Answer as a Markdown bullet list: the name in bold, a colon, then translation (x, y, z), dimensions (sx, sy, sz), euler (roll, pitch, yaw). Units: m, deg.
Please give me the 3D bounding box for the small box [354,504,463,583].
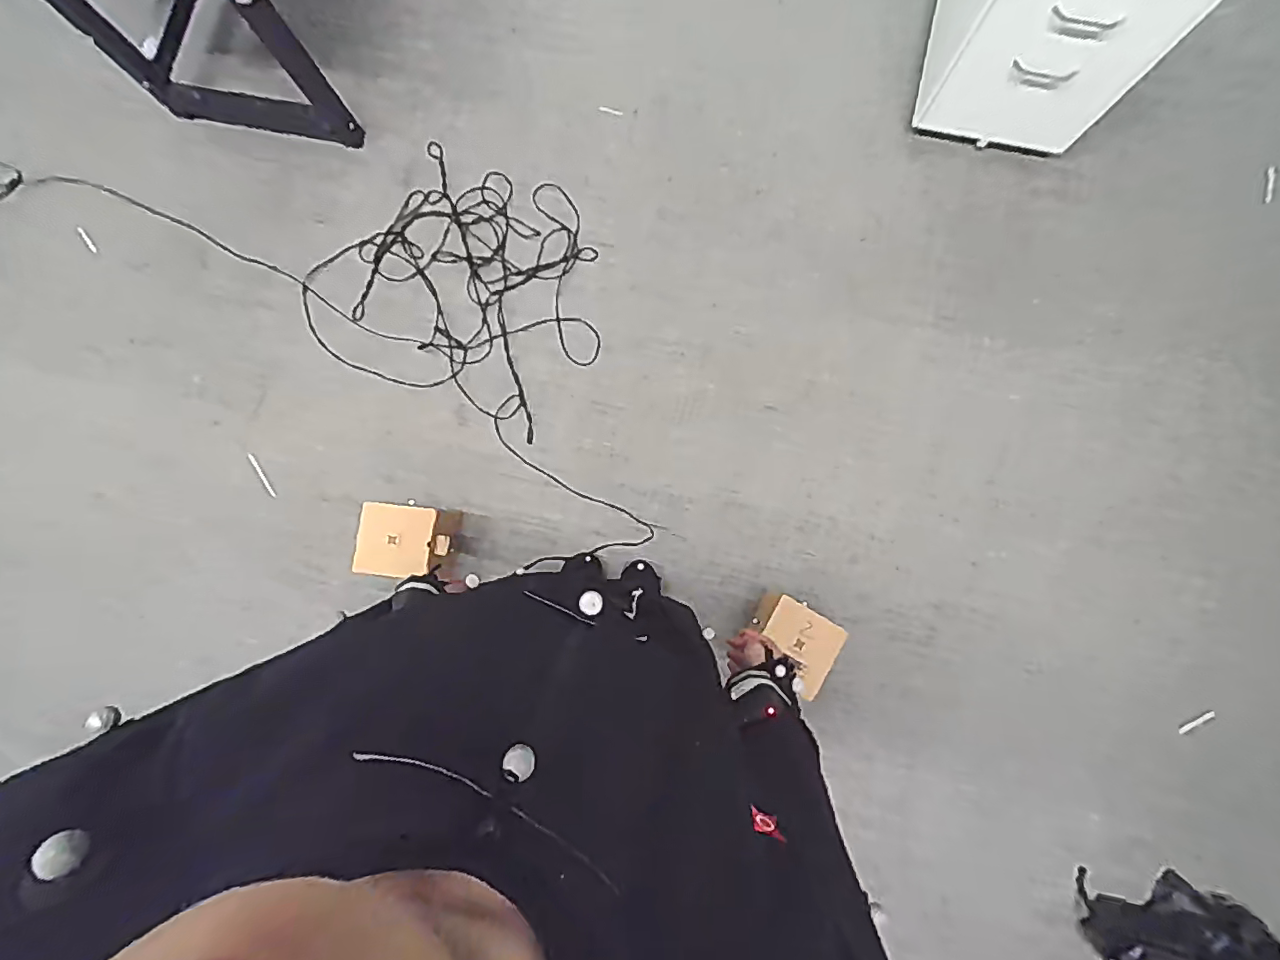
- **small box**: translation (-0.553, 0.157, 1.312), dimensions (0.179, 0.176, 0.168), euler (6, 82, 1)
